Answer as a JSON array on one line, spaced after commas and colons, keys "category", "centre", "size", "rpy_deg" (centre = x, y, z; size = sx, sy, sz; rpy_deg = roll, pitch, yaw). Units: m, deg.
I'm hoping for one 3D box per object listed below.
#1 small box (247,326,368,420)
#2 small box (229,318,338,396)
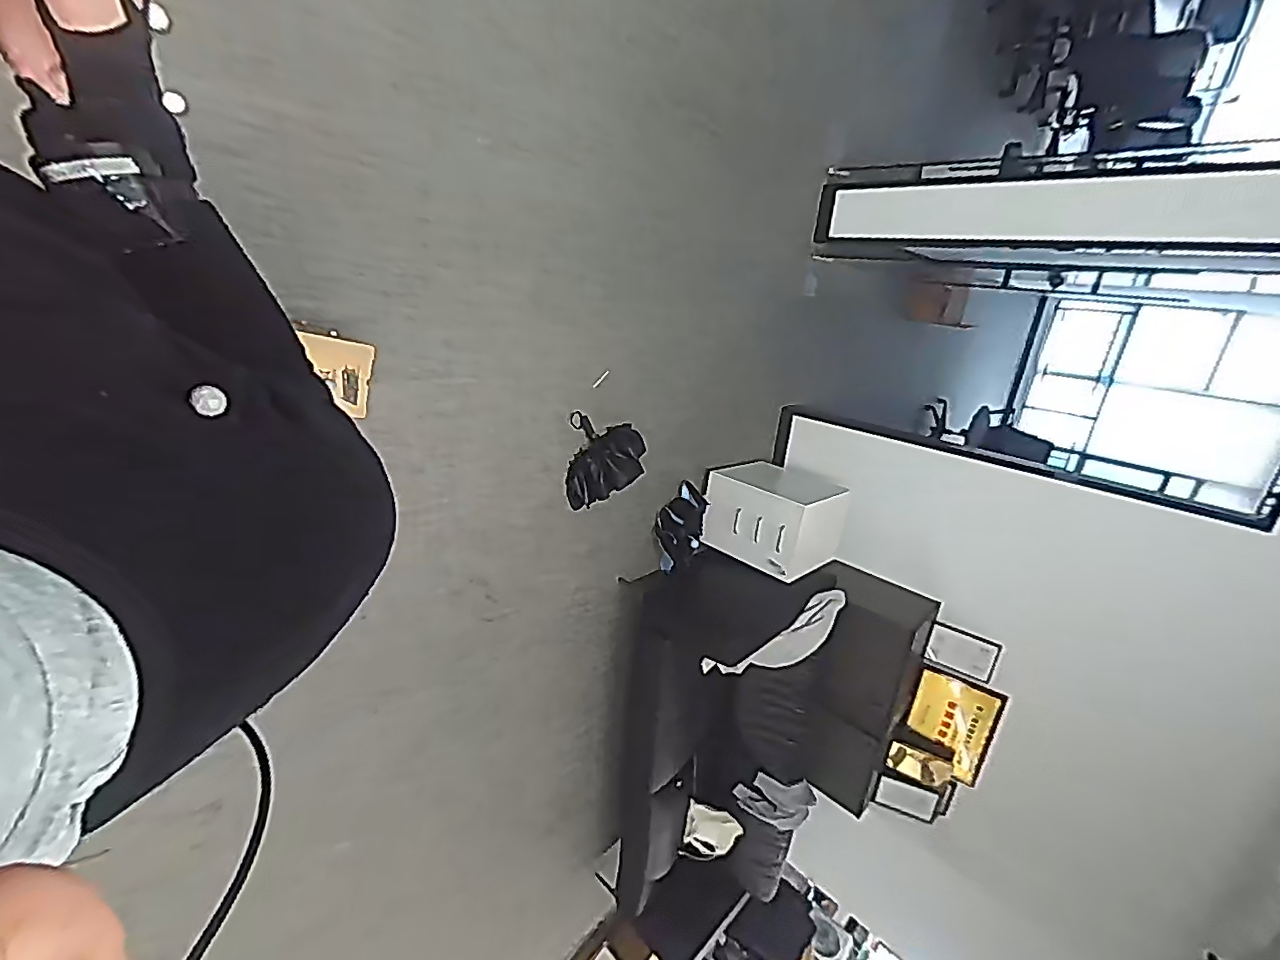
[{"category": "small box", "centre": [-0.738, -0.239, 1.200], "size": [0.179, 0.176, 0.168], "rpy_deg": [1, 104, -49]}, {"category": "small box", "centre": [-0.858, -0.287, 1.302], "size": [0.179, 0.176, 0.168], "rpy_deg": [0, 106, -49]}]
